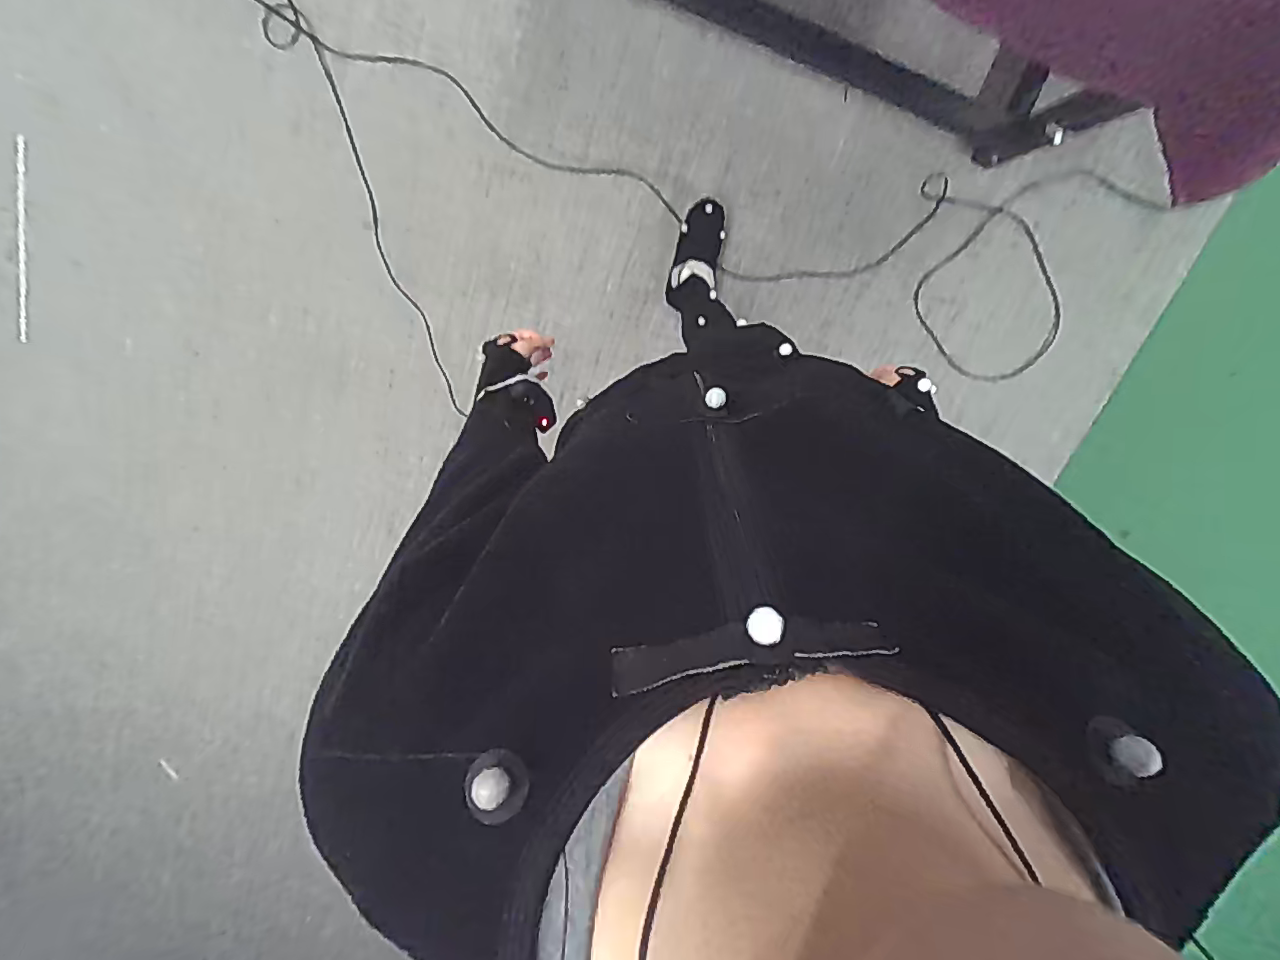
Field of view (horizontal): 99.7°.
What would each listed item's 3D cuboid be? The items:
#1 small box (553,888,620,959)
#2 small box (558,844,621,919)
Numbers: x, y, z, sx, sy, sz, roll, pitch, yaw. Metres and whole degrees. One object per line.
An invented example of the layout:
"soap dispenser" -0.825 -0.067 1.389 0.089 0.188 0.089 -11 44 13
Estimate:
"small box" -0.169 1.431 1.697 0.179 0.176 0.168 15 106 -6
"small box" -0.170 1.395 1.856 0.179 0.176 0.168 15 106 -5
